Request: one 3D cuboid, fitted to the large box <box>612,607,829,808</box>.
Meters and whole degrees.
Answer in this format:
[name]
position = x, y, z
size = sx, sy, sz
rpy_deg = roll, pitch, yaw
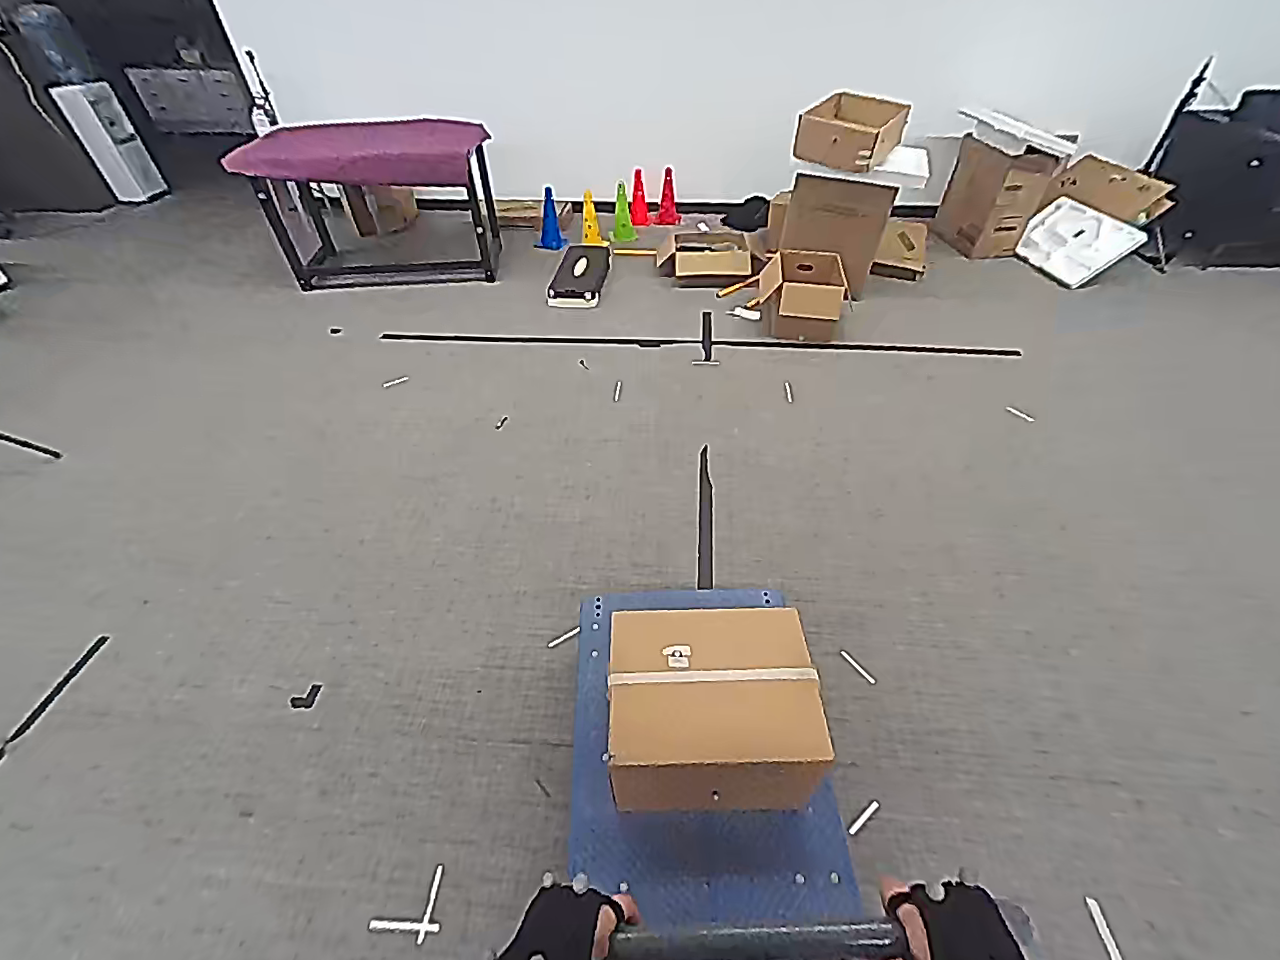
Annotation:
[large box]
position = 0.149, 0.505, 1.193
size = 0.408, 0.320, 0.320
rpy_deg = -3, 44, 0
